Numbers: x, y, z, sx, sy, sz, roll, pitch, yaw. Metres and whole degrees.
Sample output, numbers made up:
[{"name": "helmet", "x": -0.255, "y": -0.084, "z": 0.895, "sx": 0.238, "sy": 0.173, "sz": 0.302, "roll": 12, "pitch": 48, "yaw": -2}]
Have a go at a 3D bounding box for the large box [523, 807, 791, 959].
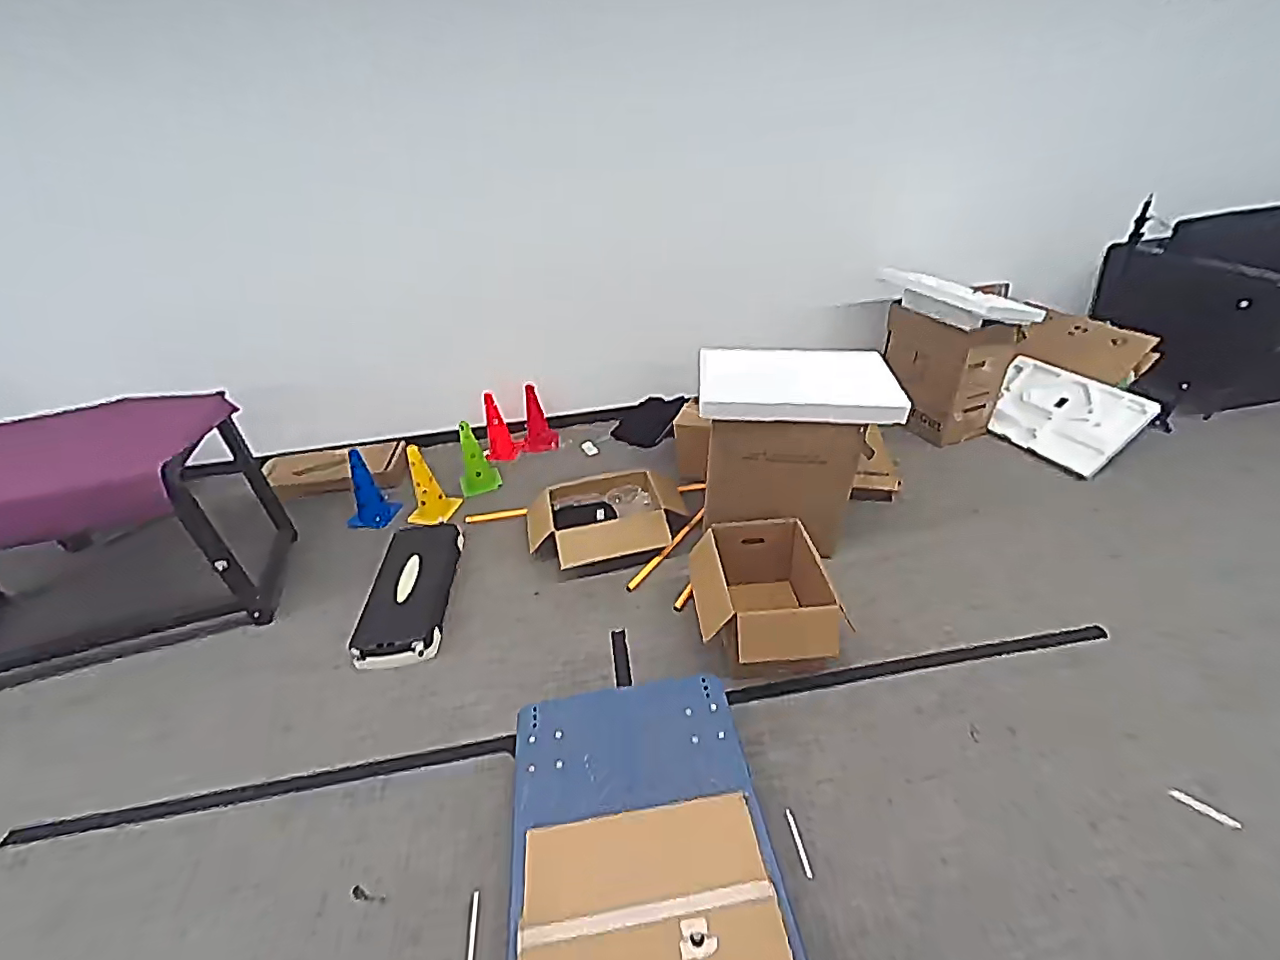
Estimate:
[{"name": "large box", "x": 0.024, "y": 0.825, "z": 0.916, "sx": 0.408, "sy": 0.320, "sz": 0.320, "roll": -7, "pitch": 34, "yaw": -6}]
